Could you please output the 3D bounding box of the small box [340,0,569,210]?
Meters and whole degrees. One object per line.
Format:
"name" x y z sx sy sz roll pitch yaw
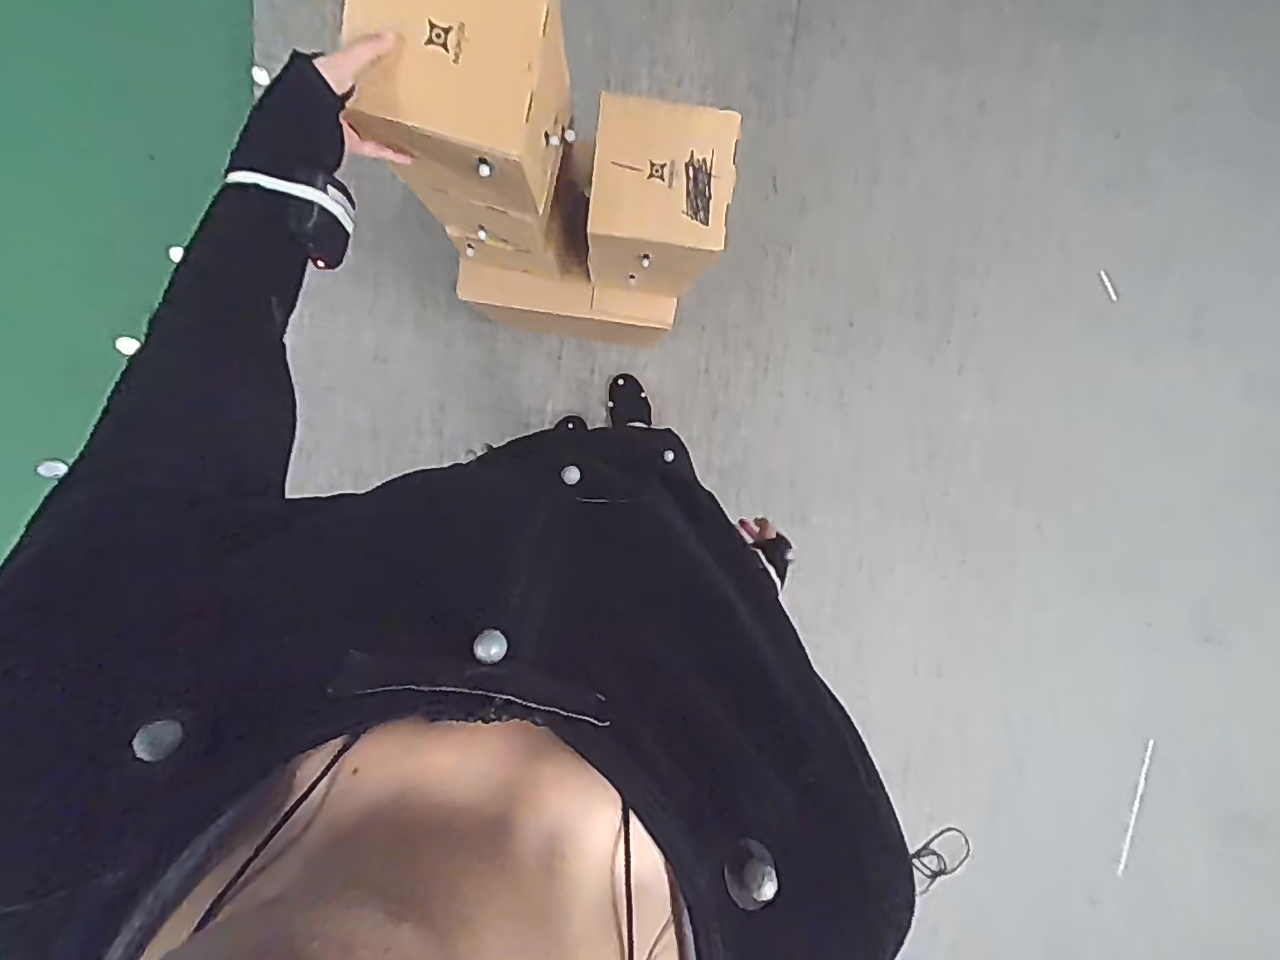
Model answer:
"small box" -0.179 -0.412 0.572 0.179 0.176 0.168 12 98 -6

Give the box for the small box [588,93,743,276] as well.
"small box" 0.028 -0.391 0.749 0.179 0.176 0.168 7 98 -2
